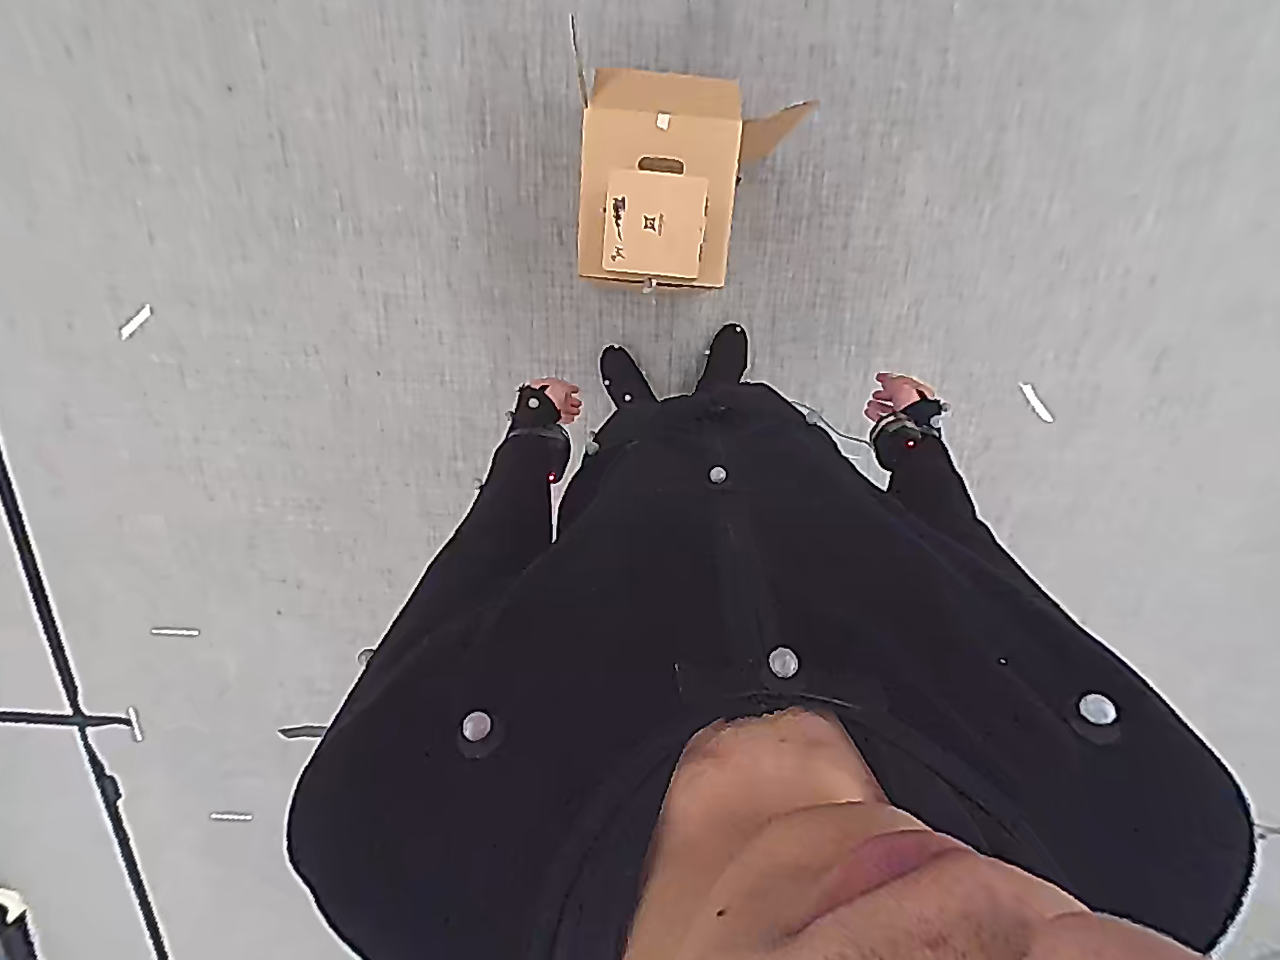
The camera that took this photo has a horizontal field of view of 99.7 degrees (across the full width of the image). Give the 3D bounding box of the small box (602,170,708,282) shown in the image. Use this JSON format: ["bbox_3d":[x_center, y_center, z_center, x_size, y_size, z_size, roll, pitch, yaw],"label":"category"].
[{"bbox_3d":[0.024,-0.474,1.033,0.179,0.176,0.168,6,108,-2],"label":"small box"}]
